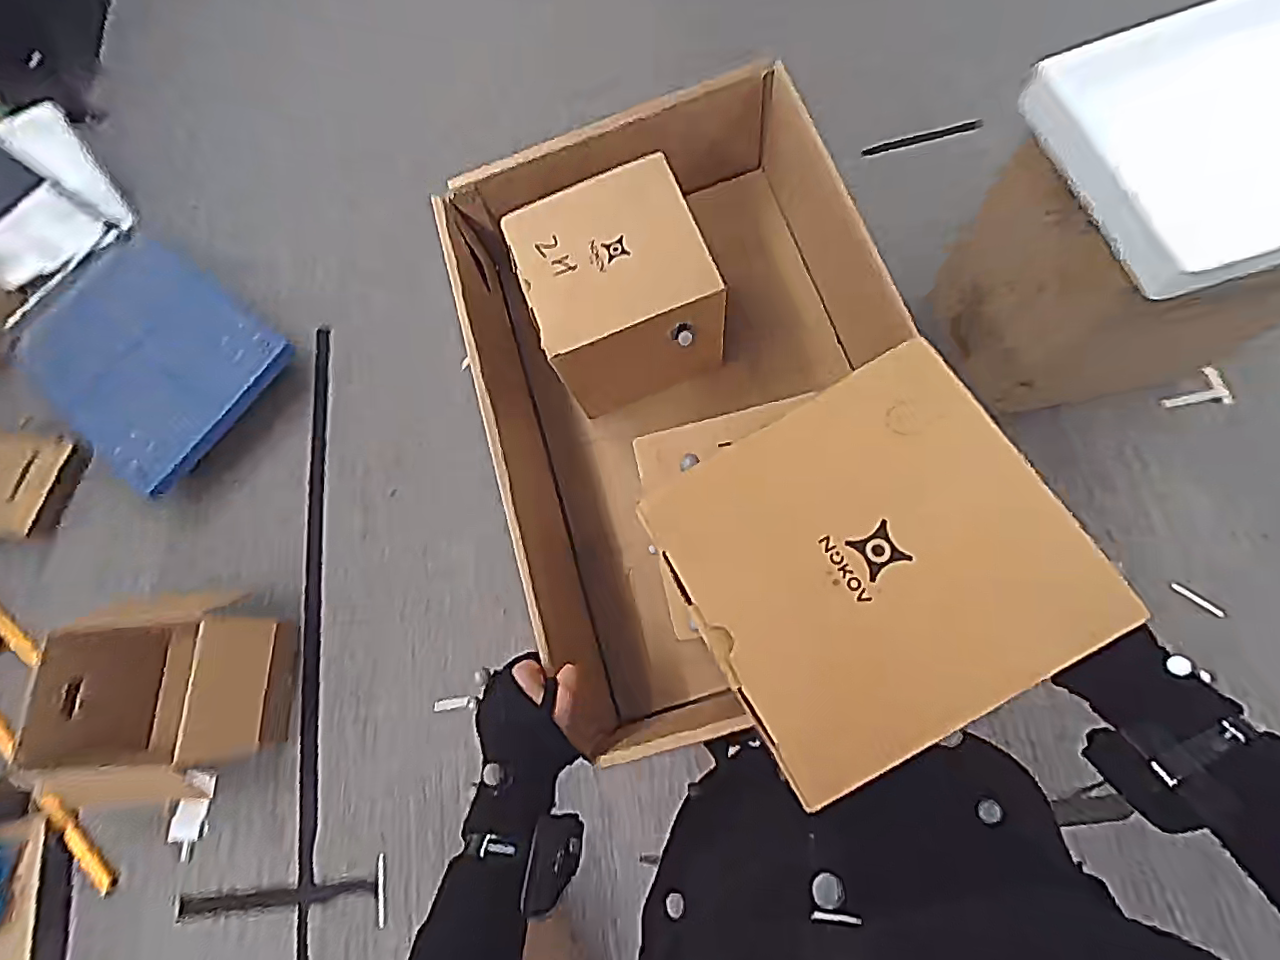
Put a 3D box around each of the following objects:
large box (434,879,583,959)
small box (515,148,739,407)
[{"bbox_3d":[-0.256,1.099,1.024,0.320,0.320,0.408,-37,73,-3],"label":"large box"},{"bbox_3d":[-0.008,-0.202,0.583,0.179,0.176,0.168,-20,75,2],"label":"small box"}]
